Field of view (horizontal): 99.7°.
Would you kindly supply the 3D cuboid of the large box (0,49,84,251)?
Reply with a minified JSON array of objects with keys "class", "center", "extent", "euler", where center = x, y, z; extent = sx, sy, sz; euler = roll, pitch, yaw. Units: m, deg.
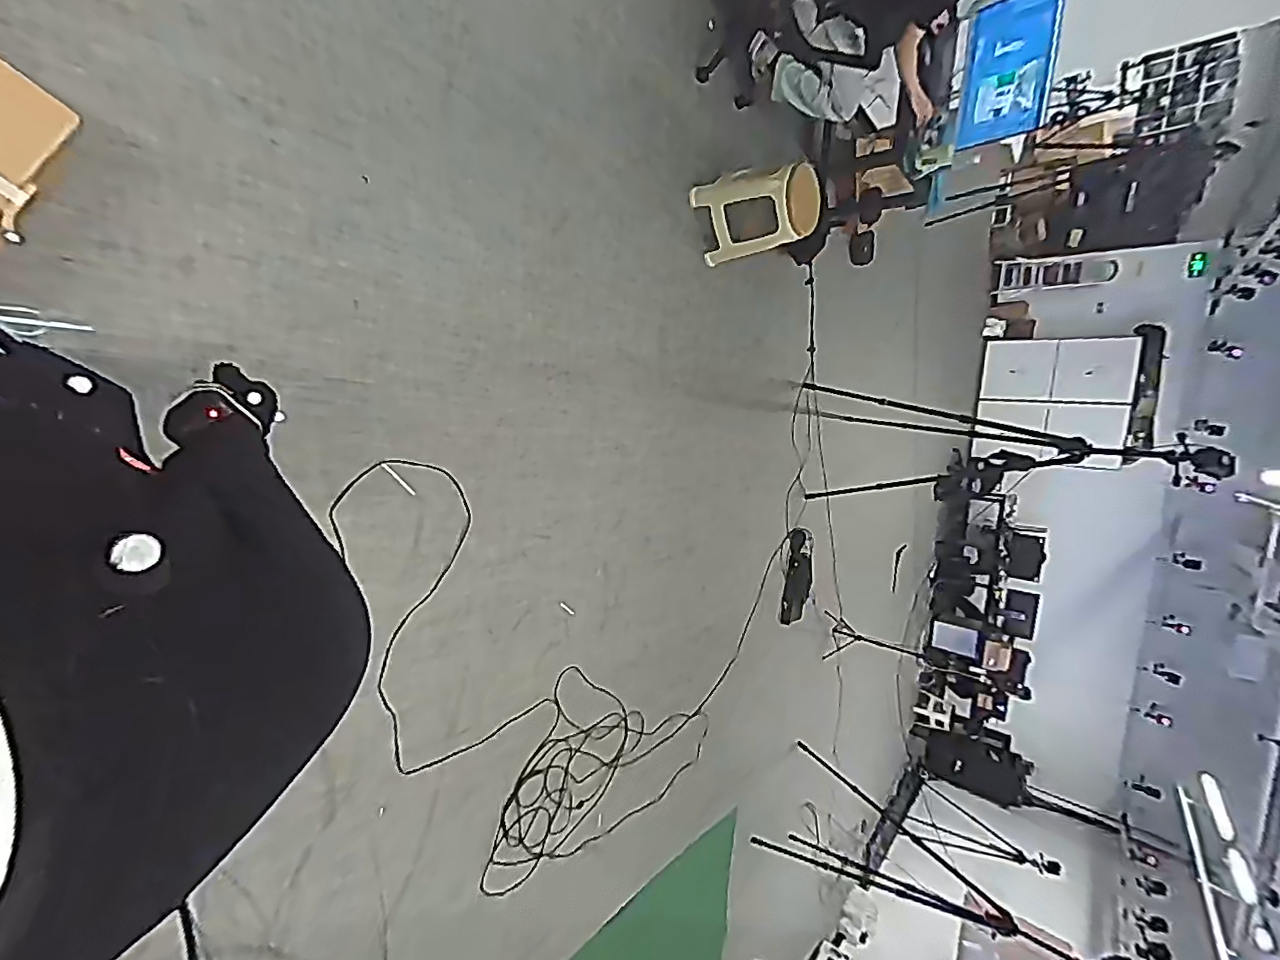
[{"class":"large box","center":[-1.113,-0.525,0.738],"extent":[0.408,0.320,0.320],"euler":[39,68,-46]}]
